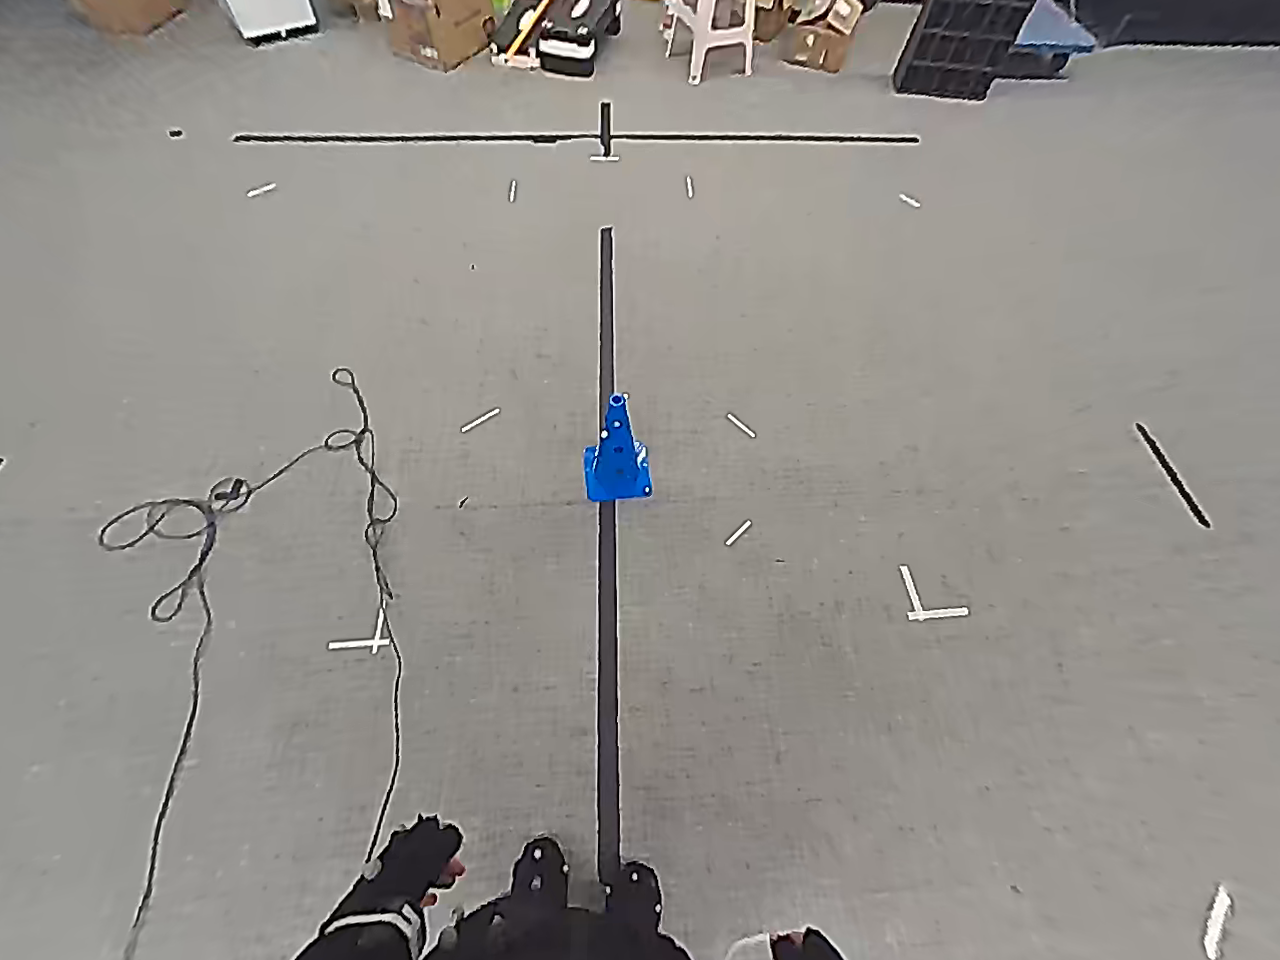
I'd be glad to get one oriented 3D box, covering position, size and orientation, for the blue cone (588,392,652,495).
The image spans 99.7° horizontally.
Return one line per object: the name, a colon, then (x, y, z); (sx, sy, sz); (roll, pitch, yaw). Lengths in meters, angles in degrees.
blue cone: (-0.057, -0.120, 1.553); (0.192, 0.380, 0.193); (-3, 60, -5)
